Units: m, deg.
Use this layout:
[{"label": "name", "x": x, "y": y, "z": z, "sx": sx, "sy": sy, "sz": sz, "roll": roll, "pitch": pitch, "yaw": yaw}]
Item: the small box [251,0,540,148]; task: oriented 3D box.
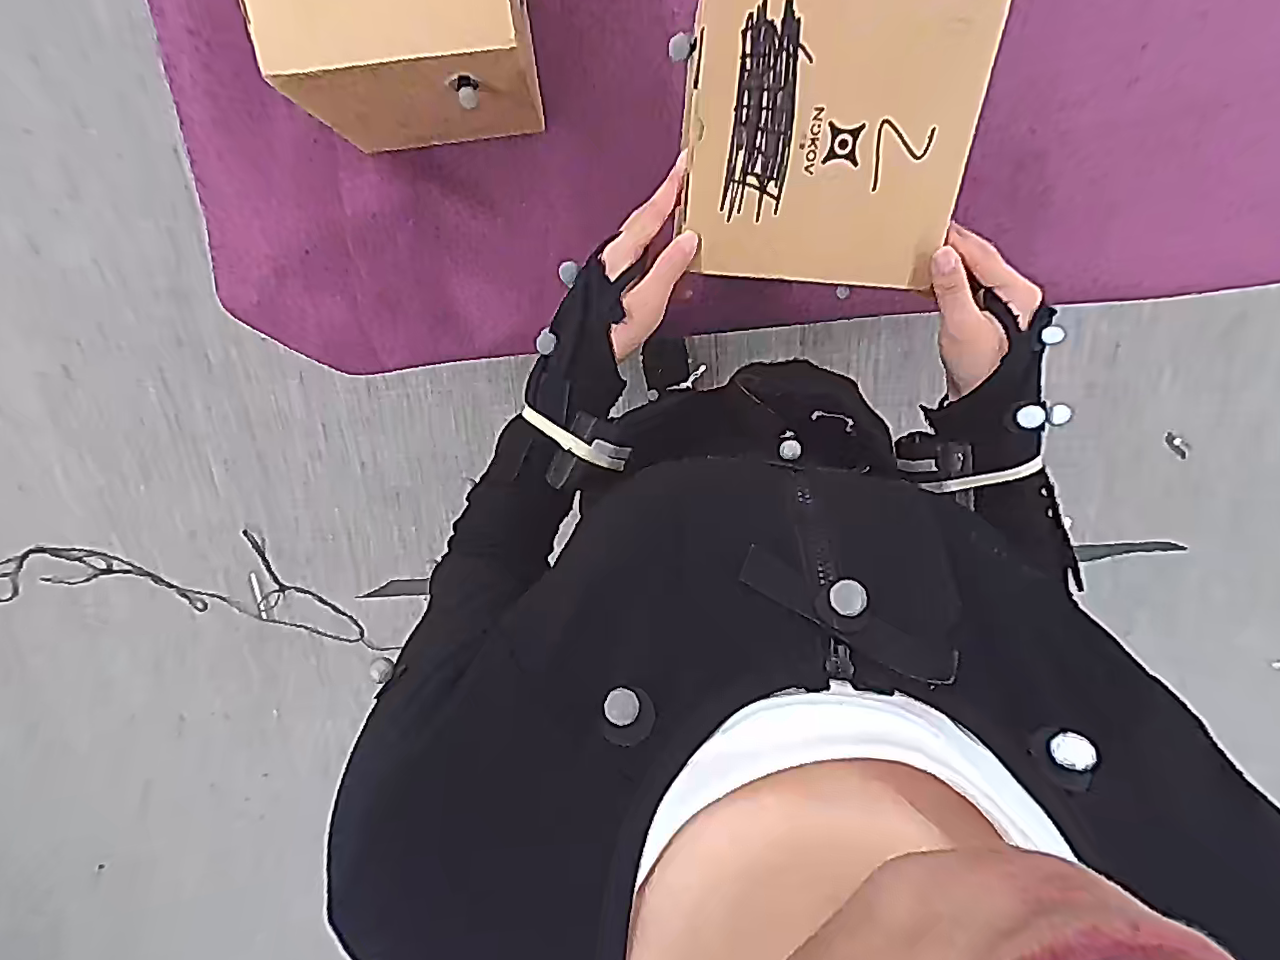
[{"label": "small box", "x": -0.179, "y": -0.382, "z": 0.422, "sx": 0.179, "sy": 0.176, "sz": 0.168, "roll": -7, "pitch": 106, "yaw": -1}]
